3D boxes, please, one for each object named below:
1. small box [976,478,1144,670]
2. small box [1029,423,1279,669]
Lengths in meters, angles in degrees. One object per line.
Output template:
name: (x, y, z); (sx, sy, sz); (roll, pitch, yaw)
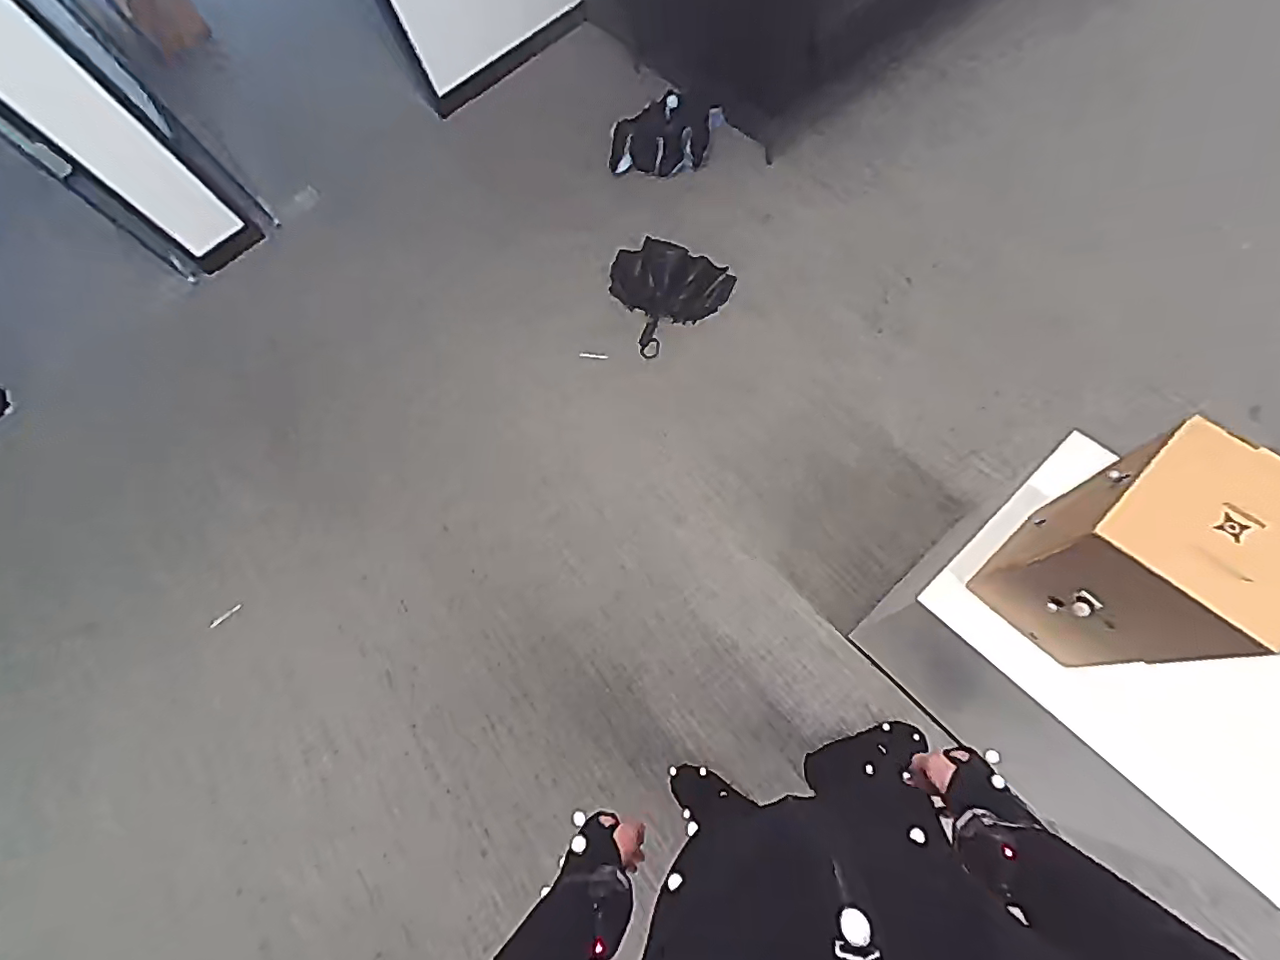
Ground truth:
small box: (0.600, 0.133, 0.728); (0.179, 0.176, 0.168); (-42, 68, -8)
small box: (0.570, 0.079, 0.578); (0.179, 0.176, 0.168); (-44, 67, -7)
